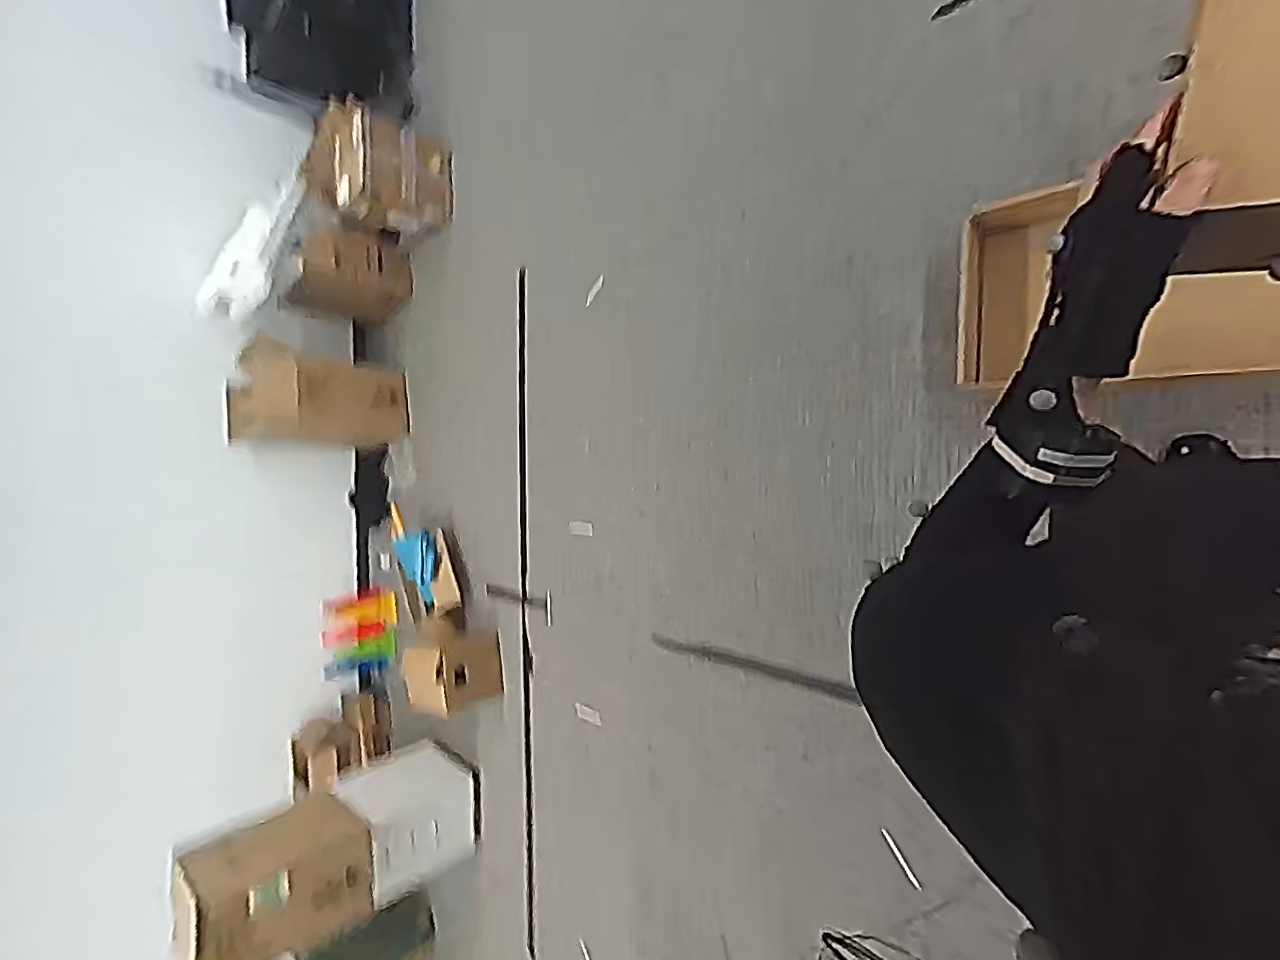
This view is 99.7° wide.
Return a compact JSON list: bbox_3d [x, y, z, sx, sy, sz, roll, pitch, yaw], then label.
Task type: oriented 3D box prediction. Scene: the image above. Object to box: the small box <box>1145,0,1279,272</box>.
[{"bbox_3d":[0.419,-0.235,0.310,0.168,0.176,0.179,10,100,38],"label":"small box"}]
